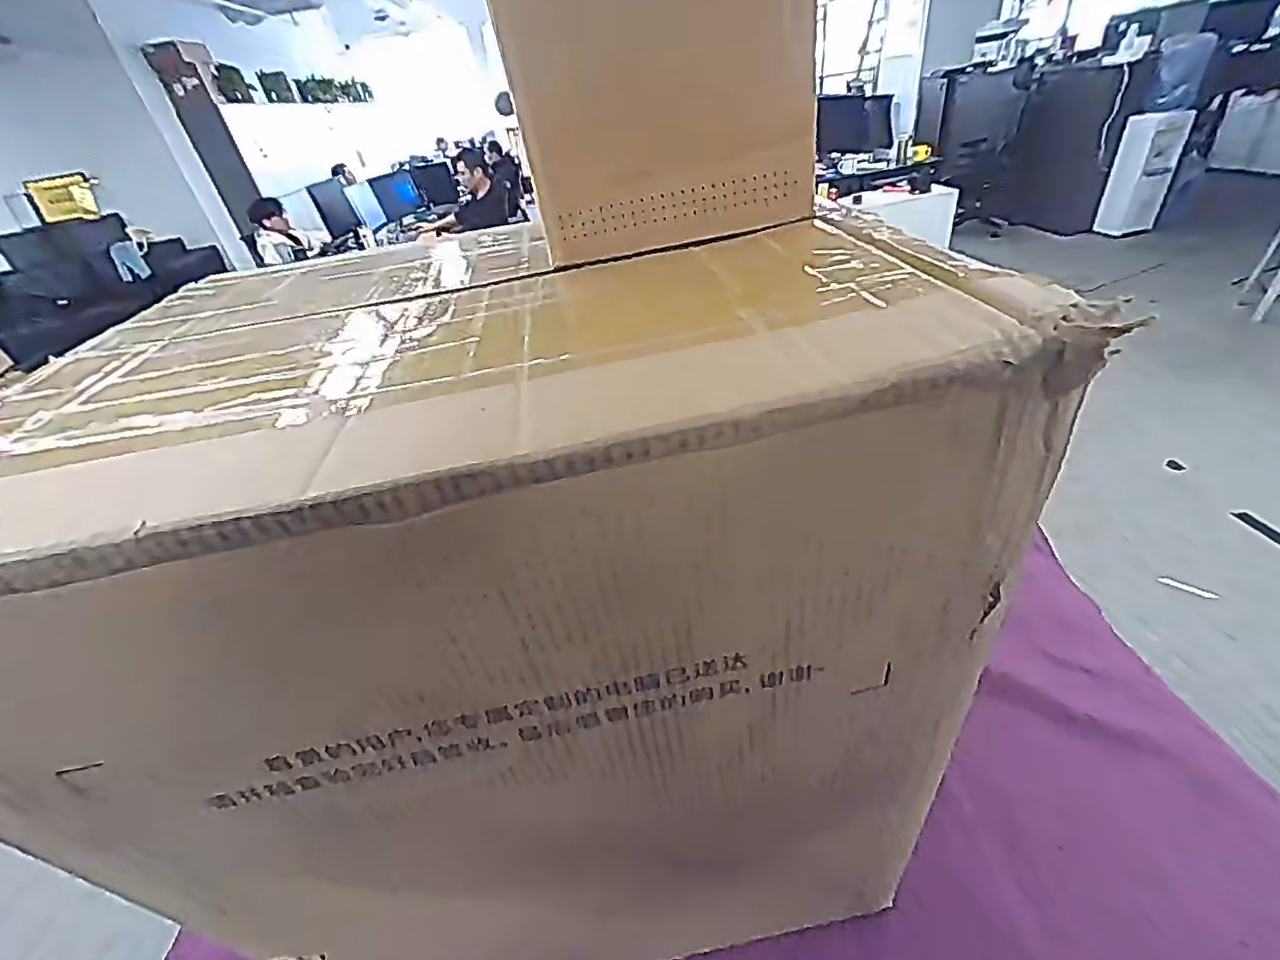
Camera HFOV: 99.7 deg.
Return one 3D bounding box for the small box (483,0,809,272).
[{"bbox_3d":[0.006,-0.253,0.367,0.179,0.176,0.168,-11,35,-1],"label":"small box"}]
